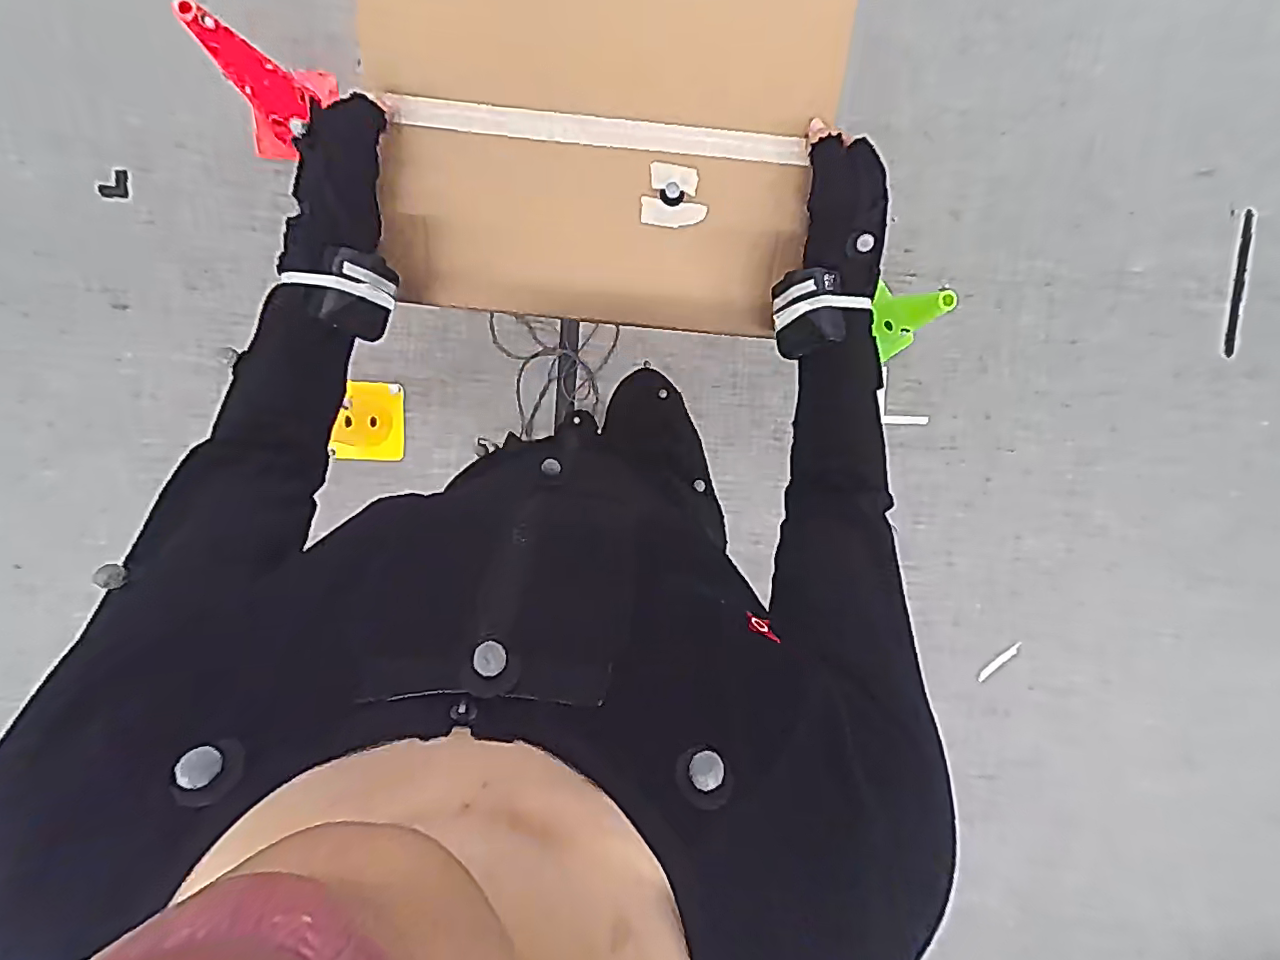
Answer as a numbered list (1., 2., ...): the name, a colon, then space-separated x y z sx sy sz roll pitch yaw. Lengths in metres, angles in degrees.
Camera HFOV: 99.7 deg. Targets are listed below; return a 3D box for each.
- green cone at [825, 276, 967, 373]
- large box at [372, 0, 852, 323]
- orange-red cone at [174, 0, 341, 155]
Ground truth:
1. green cone: 0.629 -0.396 1.275 0.202 0.368 0.200 -34 98 0
2. large box: -0.033 -0.354 0.614 0.408 0.320 0.320 5 107 -2
3. orange-red cone: -0.826 -0.875 1.147 0.198 0.360 0.199 1 98 -2
